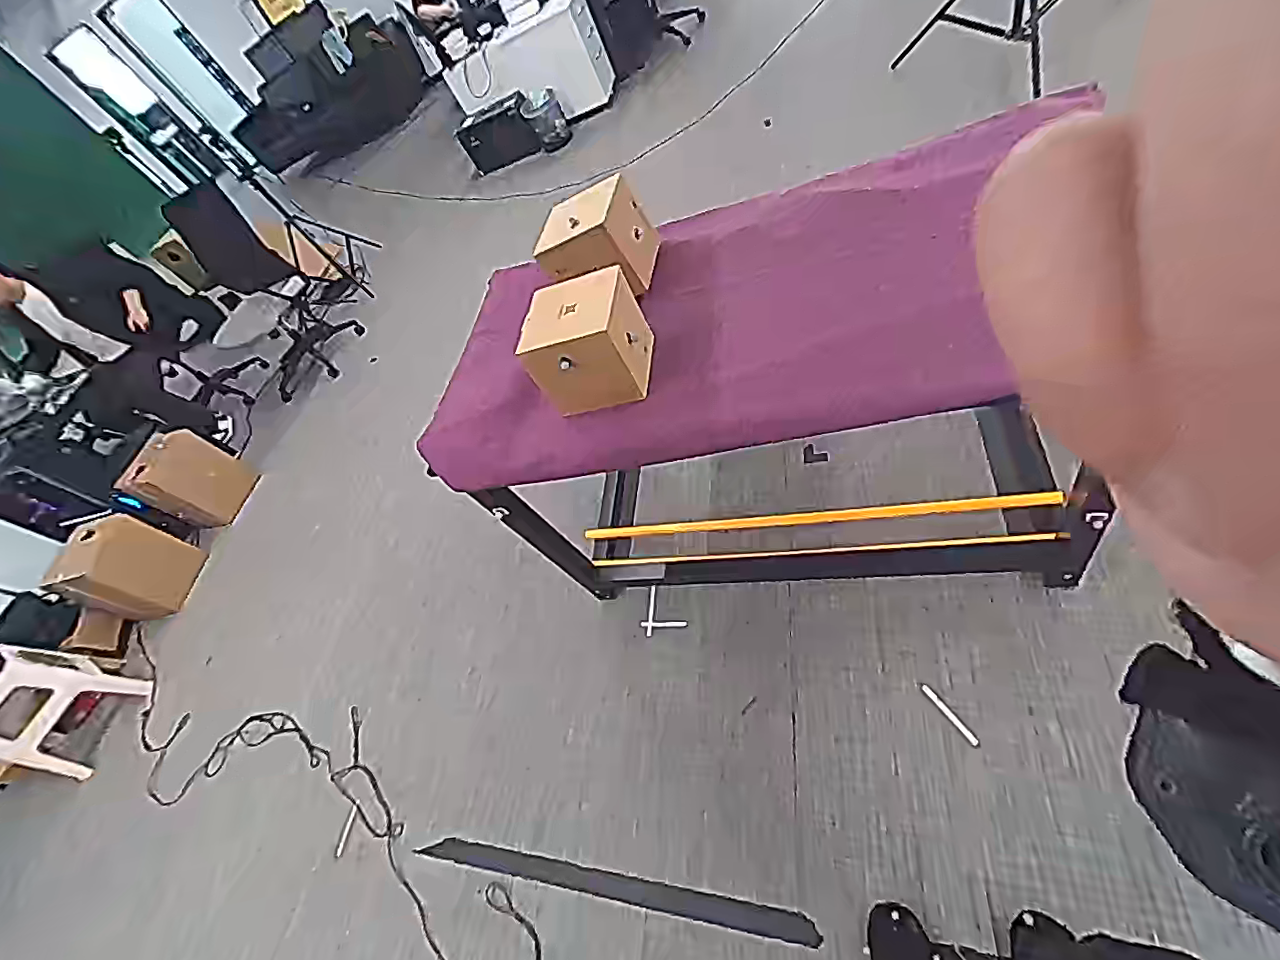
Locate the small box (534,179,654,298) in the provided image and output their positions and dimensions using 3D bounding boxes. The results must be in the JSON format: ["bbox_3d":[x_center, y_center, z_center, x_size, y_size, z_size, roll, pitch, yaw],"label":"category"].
[{"bbox_3d":[-0.084,-0.477,1.112,0.179,0.168,0.176,-9,53,31],"label":"small box"}]

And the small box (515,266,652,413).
[{"bbox_3d":[-0.090,-0.242,0.966,0.179,0.176,0.168,-9,54,22],"label":"small box"}]
